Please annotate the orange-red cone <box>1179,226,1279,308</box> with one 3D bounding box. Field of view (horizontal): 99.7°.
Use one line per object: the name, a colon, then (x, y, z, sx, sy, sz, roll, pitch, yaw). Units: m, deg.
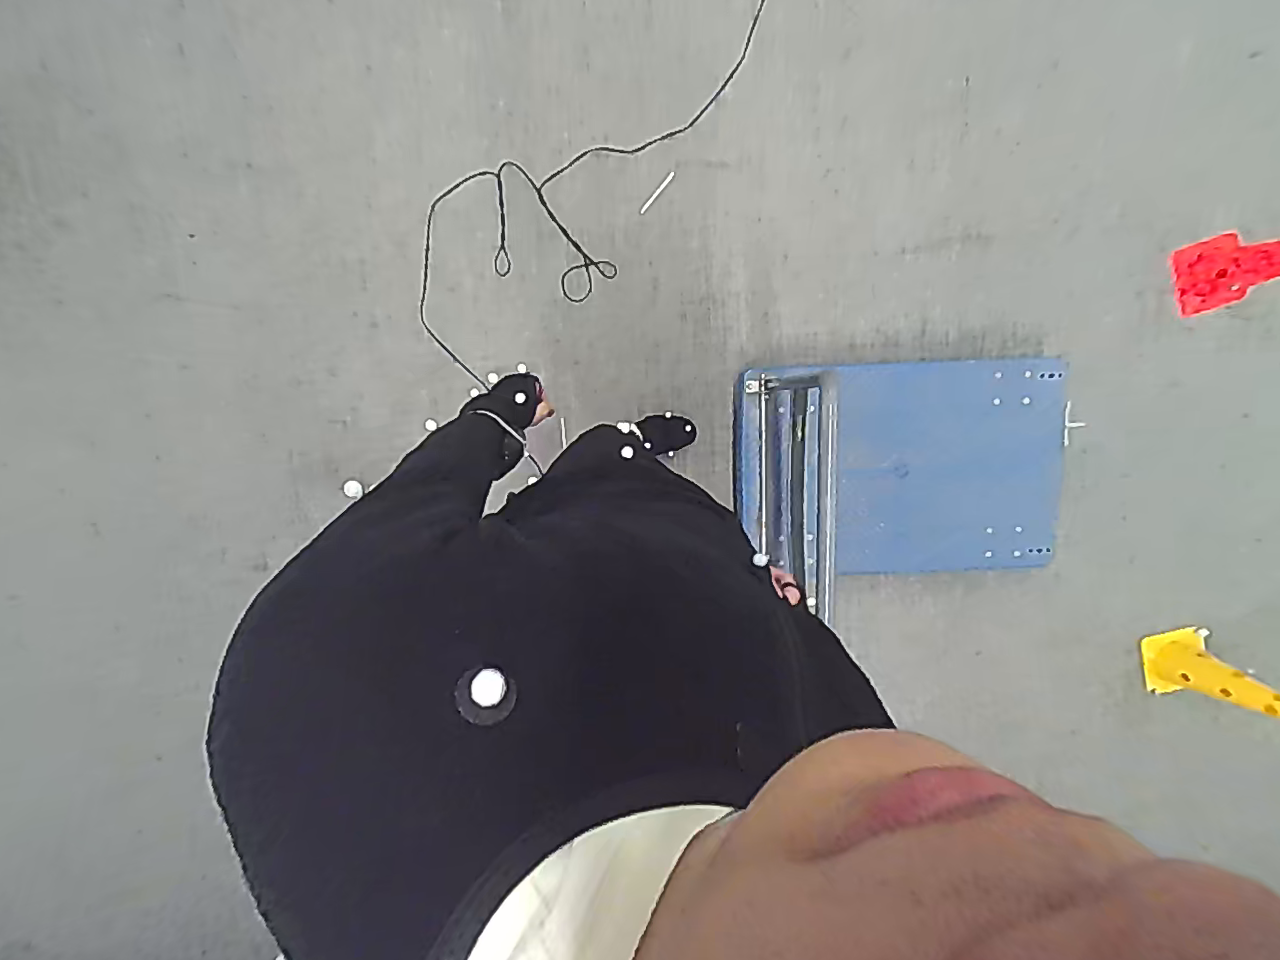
orange-red cone: (1.662, -0.592, 1.386, 0.198, 0.360, 0.199, -17, 96, 1)
